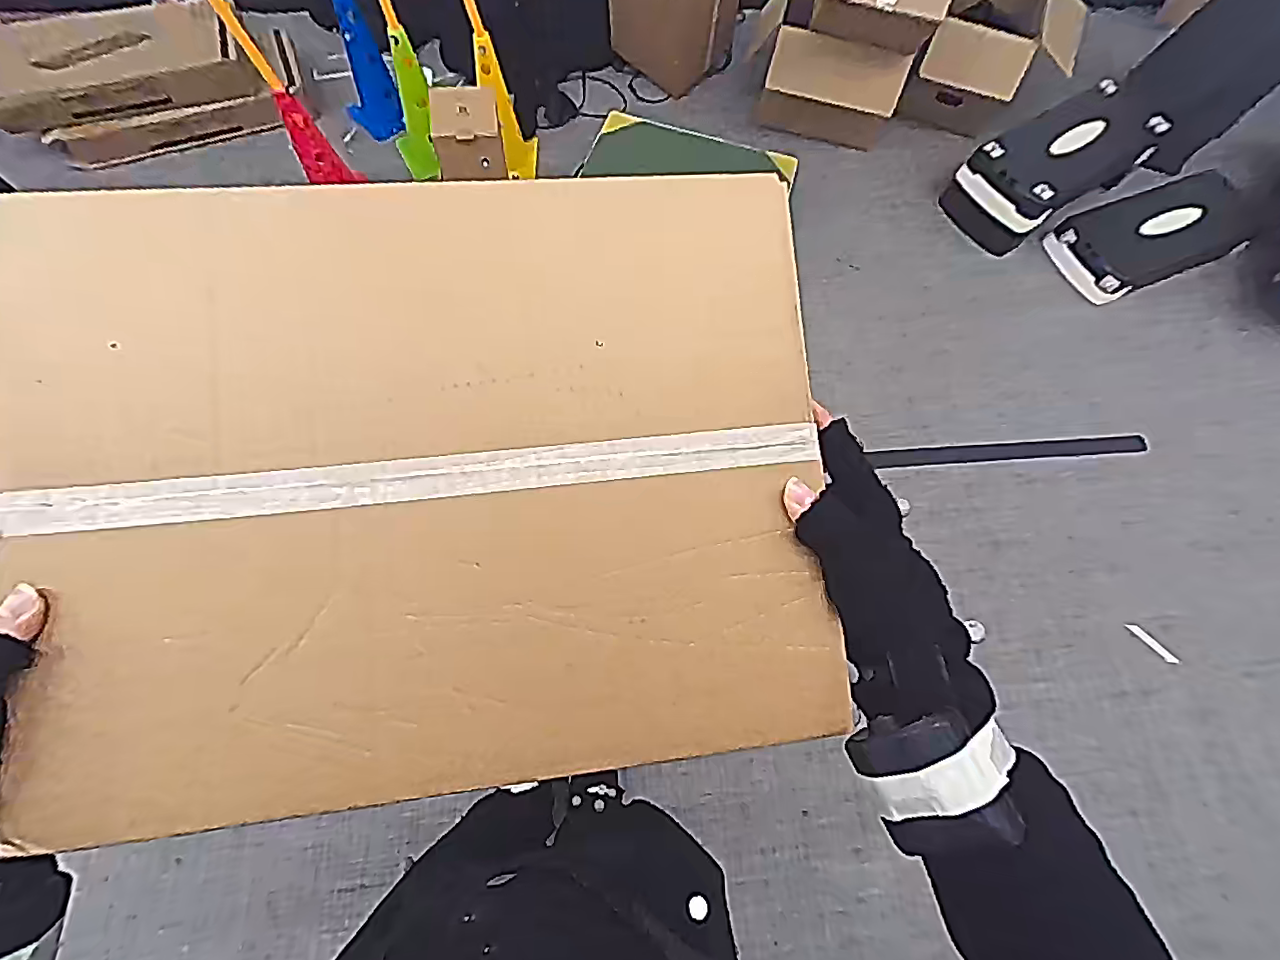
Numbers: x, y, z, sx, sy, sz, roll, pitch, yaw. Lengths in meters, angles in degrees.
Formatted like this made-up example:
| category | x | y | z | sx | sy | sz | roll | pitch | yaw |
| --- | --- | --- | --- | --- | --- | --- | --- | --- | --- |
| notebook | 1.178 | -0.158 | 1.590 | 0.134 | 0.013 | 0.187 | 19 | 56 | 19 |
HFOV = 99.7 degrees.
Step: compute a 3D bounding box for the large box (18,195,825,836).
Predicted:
| category | x | y | z | sx | sy | sz | roll | pitch | yaw |
| --- | --- | --- | --- | --- | --- | --- | --- | --- | --- |
| large box | -0.120 | 0.011 | 0.437 | 0.408 | 0.320 | 0.320 | -5 | 85 | -7 |
